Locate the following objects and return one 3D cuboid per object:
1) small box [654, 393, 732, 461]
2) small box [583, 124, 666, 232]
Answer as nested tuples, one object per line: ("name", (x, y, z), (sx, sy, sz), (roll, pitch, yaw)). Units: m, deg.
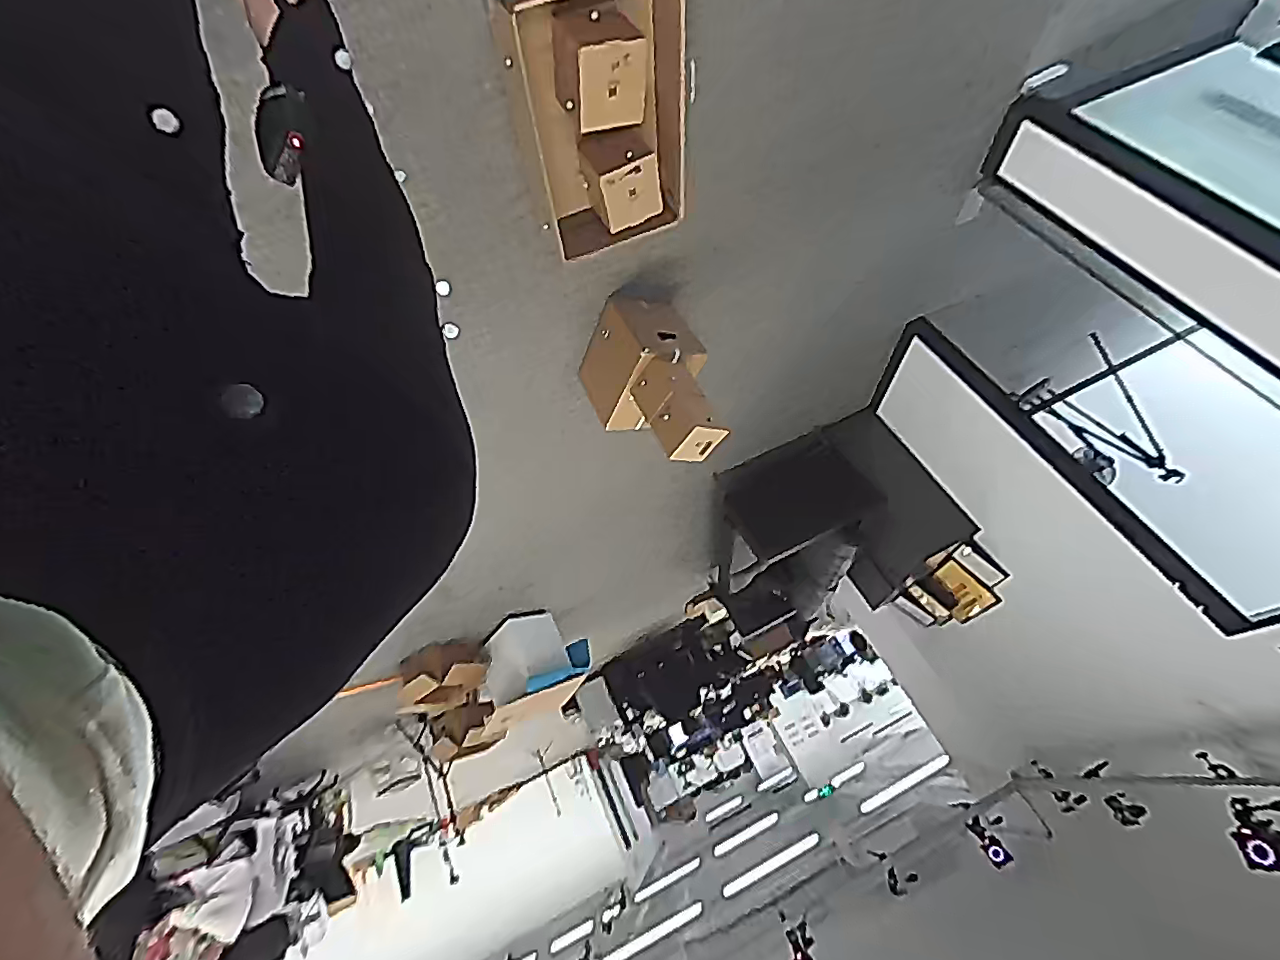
("small box", (0.181, -0.184, 1.892), (0.179, 0.176, 0.168), (2, 140, -41))
("small box", (-0.041, -0.837, 1.501), (0.168, 0.176, 0.179), (-26, 153, -5))
